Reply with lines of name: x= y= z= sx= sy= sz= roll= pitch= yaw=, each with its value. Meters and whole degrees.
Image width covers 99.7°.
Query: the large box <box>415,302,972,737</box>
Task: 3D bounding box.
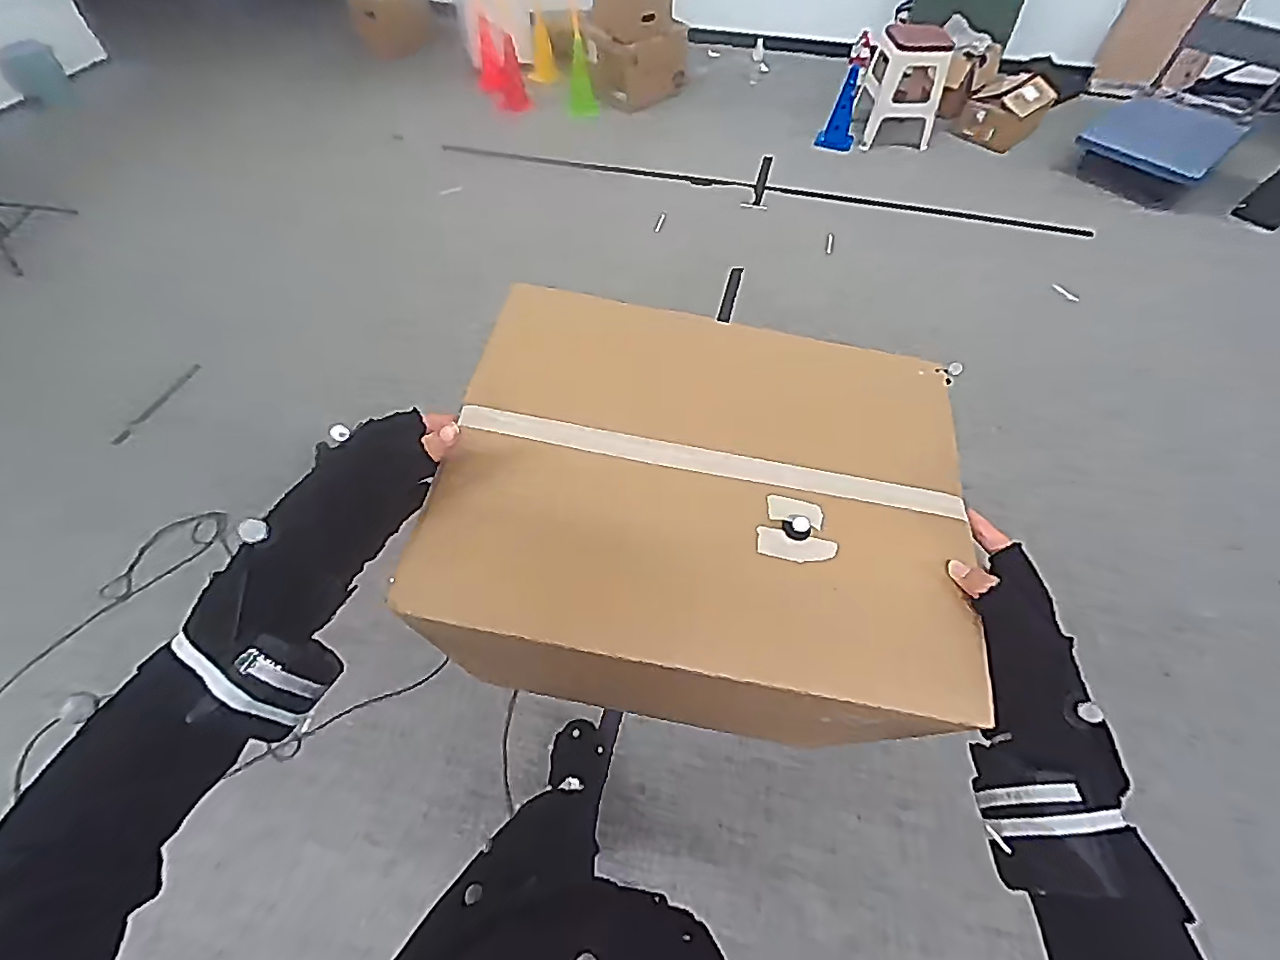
large box: x=0.044 y=0.064 z=0.574 sx=0.408 sy=0.320 sz=0.320 roll=11 pitch=61 yaw=0
